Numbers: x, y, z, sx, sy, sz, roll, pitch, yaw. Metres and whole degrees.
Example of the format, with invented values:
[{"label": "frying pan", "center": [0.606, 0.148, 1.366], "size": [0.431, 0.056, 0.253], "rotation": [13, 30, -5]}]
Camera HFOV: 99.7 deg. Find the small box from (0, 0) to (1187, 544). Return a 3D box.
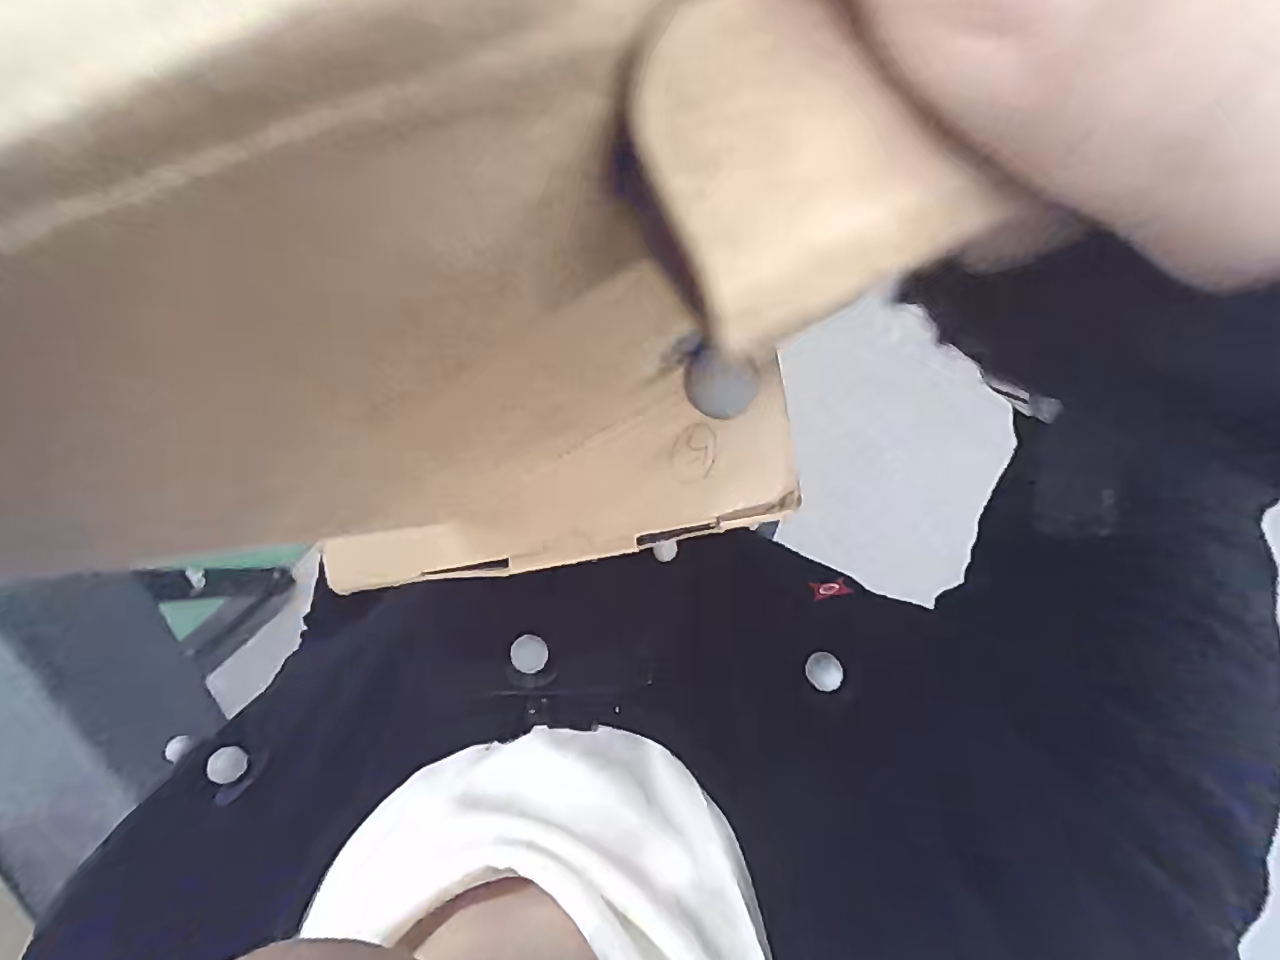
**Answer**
[{"label": "small box", "center": [-0.031, -0.105, 0.107], "size": [0.168, 0.176, 0.179], "rotation": [-27, 90, -5]}]
